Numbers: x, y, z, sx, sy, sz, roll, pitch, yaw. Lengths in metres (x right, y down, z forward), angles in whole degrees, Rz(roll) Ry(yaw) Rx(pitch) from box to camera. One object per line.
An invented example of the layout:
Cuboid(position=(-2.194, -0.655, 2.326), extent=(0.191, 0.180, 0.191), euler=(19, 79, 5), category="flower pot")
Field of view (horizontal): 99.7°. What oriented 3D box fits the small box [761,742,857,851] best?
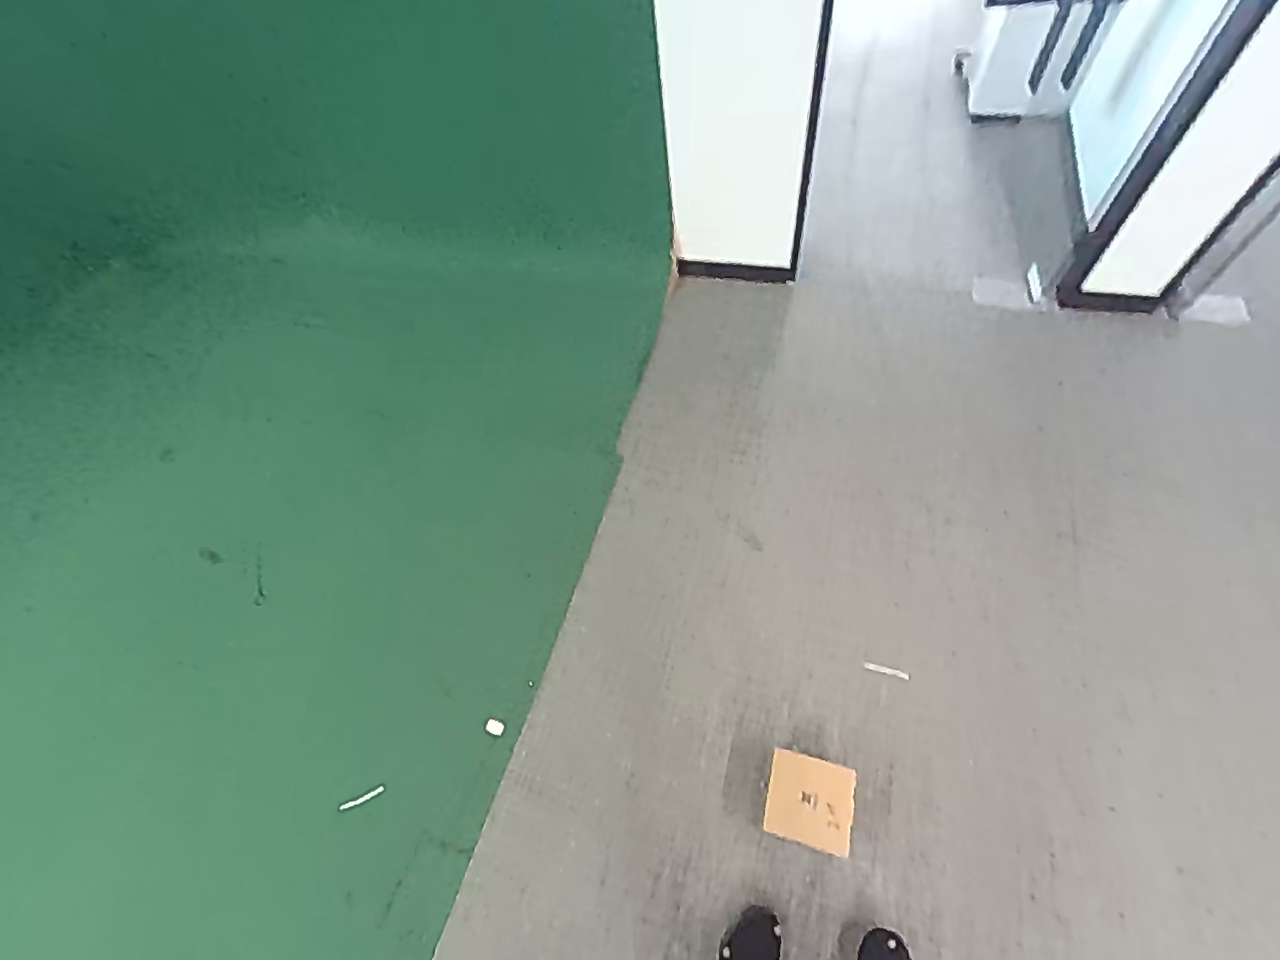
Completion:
Cuboid(position=(0.374, 0.710, 1.217), extent=(0.179, 0.176, 0.168), euler=(11, 61, 15), category="small box")
